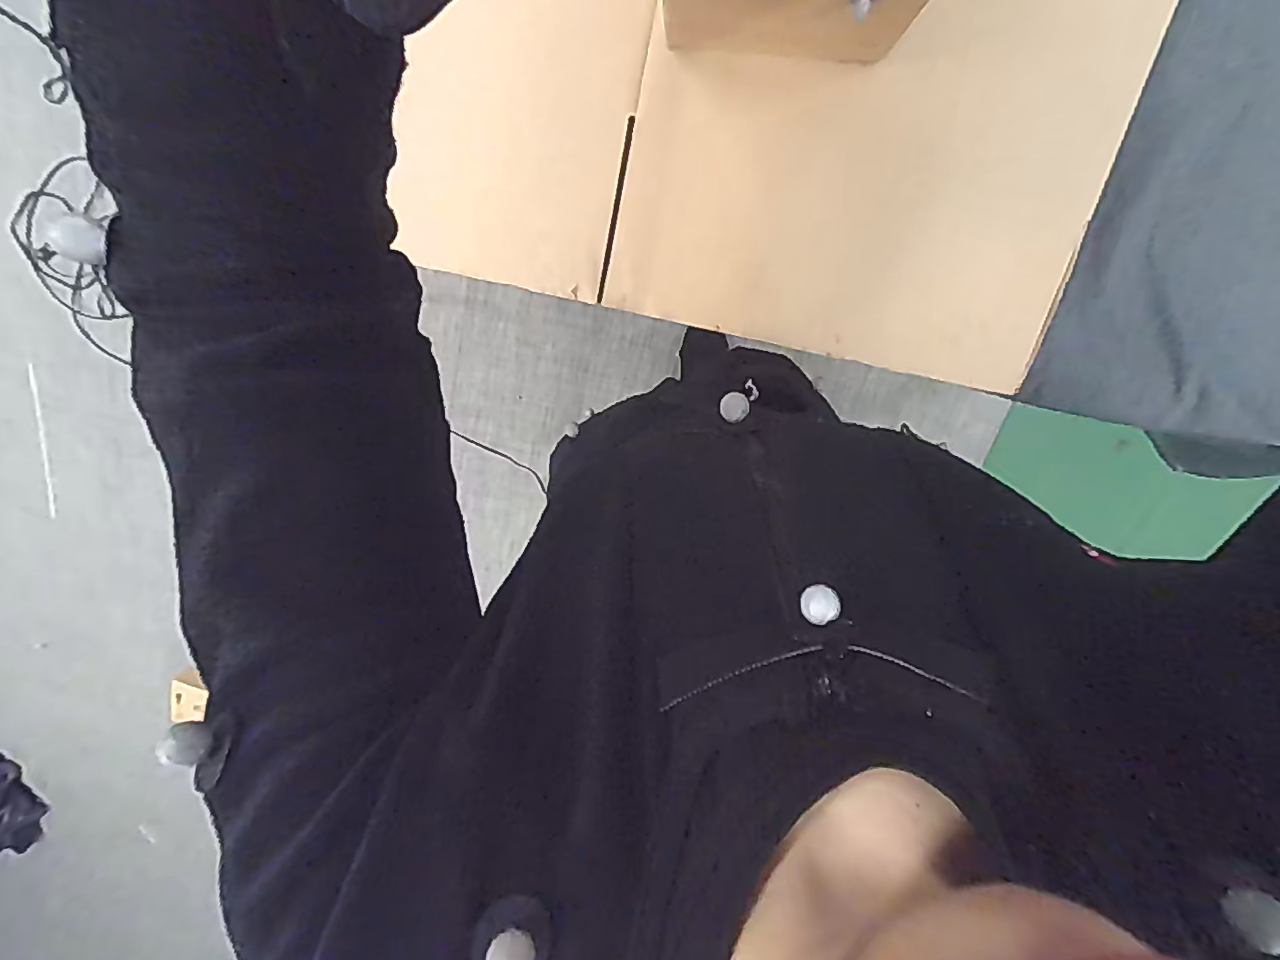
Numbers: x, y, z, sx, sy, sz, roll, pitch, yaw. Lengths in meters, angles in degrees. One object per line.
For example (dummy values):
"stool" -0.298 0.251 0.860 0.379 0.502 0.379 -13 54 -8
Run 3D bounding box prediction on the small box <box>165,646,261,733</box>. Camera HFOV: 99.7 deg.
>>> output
"small box" -1.323 0.646 1.684 0.179 0.176 0.168 18 109 -2

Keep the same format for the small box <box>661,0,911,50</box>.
"small box" 0.105 -0.396 0.326 0.179 0.176 0.168 6 106 3
